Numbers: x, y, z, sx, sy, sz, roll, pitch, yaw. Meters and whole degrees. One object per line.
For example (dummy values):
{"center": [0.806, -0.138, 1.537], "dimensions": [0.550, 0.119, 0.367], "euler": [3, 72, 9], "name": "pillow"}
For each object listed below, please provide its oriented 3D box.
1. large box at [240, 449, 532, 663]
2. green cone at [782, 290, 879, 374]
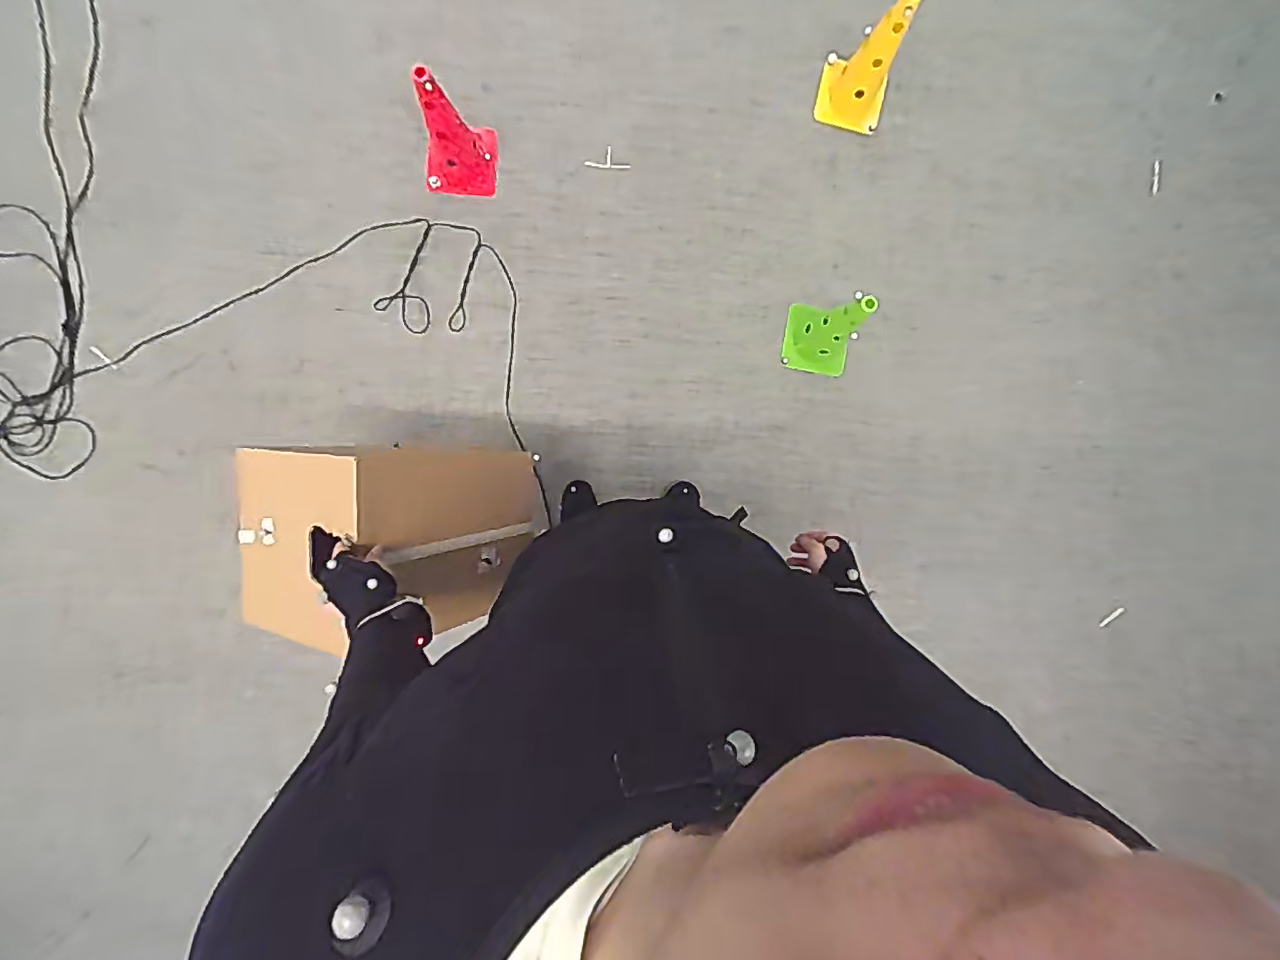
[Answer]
{"center": [-0.454, 0.102, 1.031], "dimensions": [0.320, 0.408, 0.320], "euler": [4, 96, 26], "name": "large box"}
{"center": [0.553, -0.435, 1.490], "dimensions": [0.200, 0.368, 0.202], "euler": [9, 89, -4], "name": "green cone"}
